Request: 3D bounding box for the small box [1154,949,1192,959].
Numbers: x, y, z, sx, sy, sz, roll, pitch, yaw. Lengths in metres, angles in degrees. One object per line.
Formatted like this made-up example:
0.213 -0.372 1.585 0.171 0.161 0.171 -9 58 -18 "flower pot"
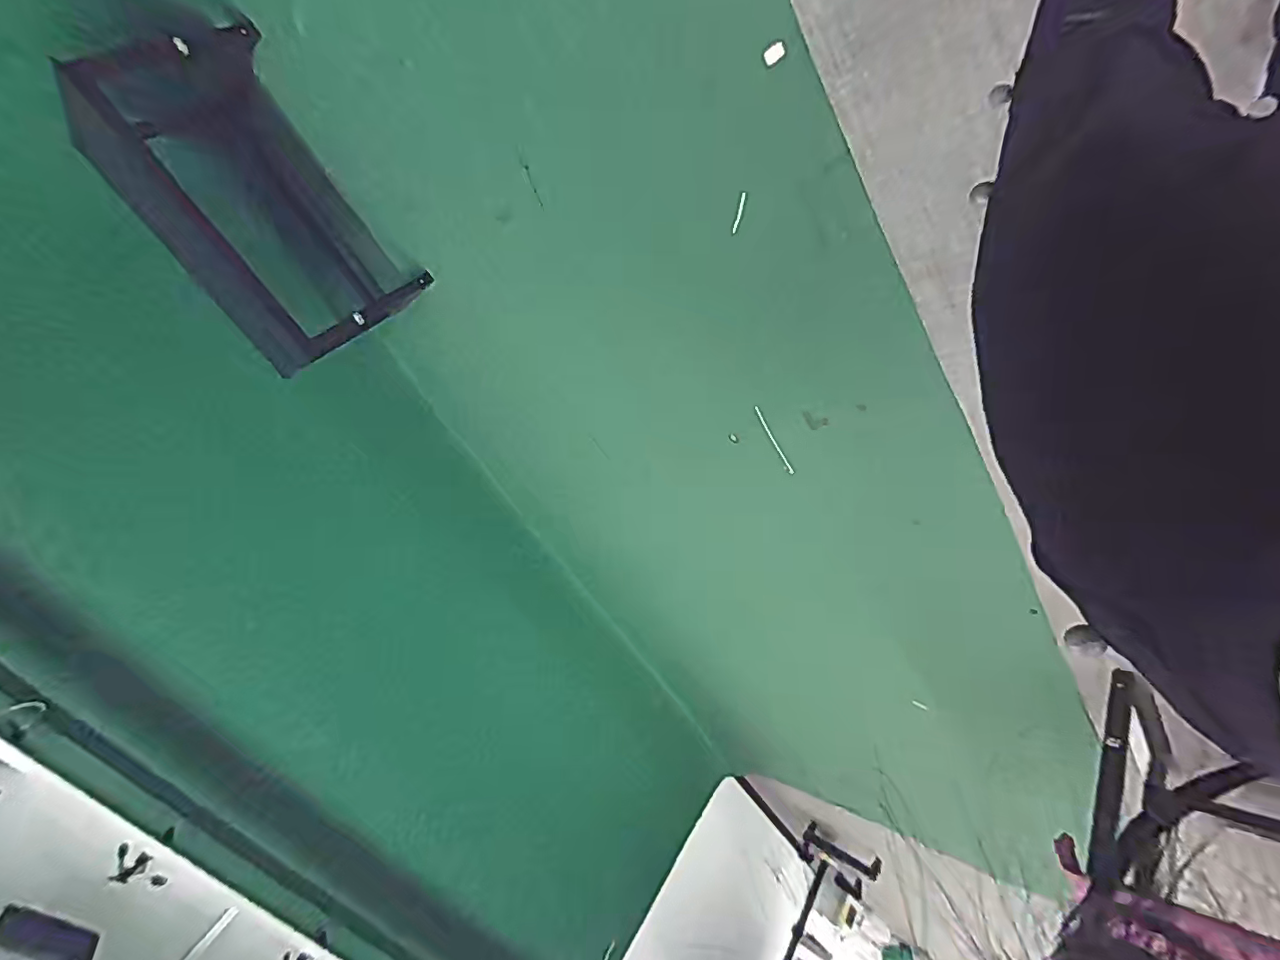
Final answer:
1.397 1.306 1.318 0.168 0.176 0.179 44 149 -4 "small box"
